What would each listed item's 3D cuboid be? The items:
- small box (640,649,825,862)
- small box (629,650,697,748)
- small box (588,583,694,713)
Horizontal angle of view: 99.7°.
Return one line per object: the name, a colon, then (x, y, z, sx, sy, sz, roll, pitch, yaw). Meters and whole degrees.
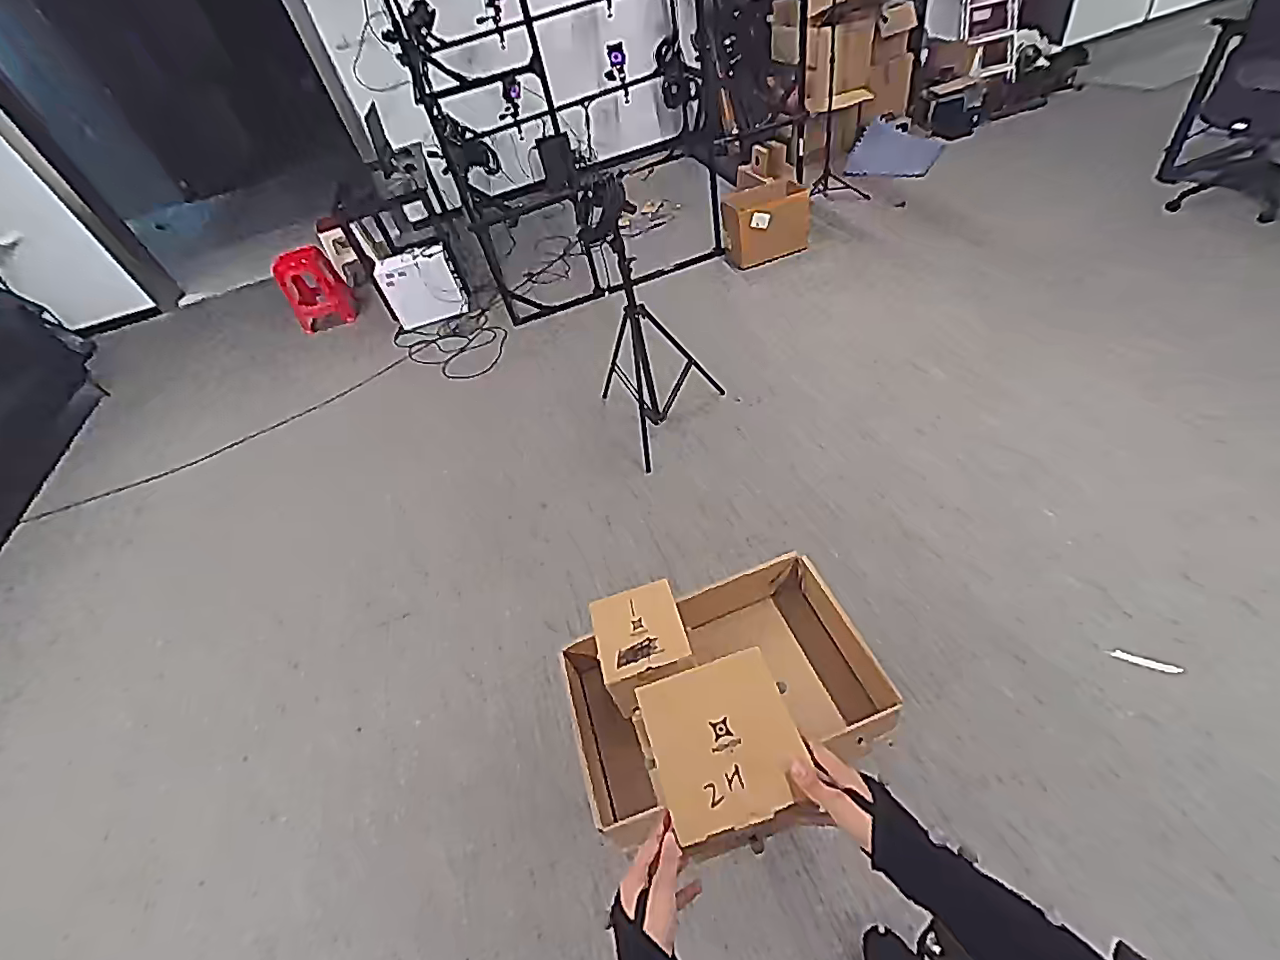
small box: (0.109, 0.348, 0.681, 0.168, 0.176, 0.179, -18, 50, -4)
small box: (0.045, 0.450, 1.188, 0.168, 0.176, 0.179, -23, 45, -6)
small box: (0.009, 0.339, 1.071, 0.168, 0.176, 0.179, -17, 45, -2)
